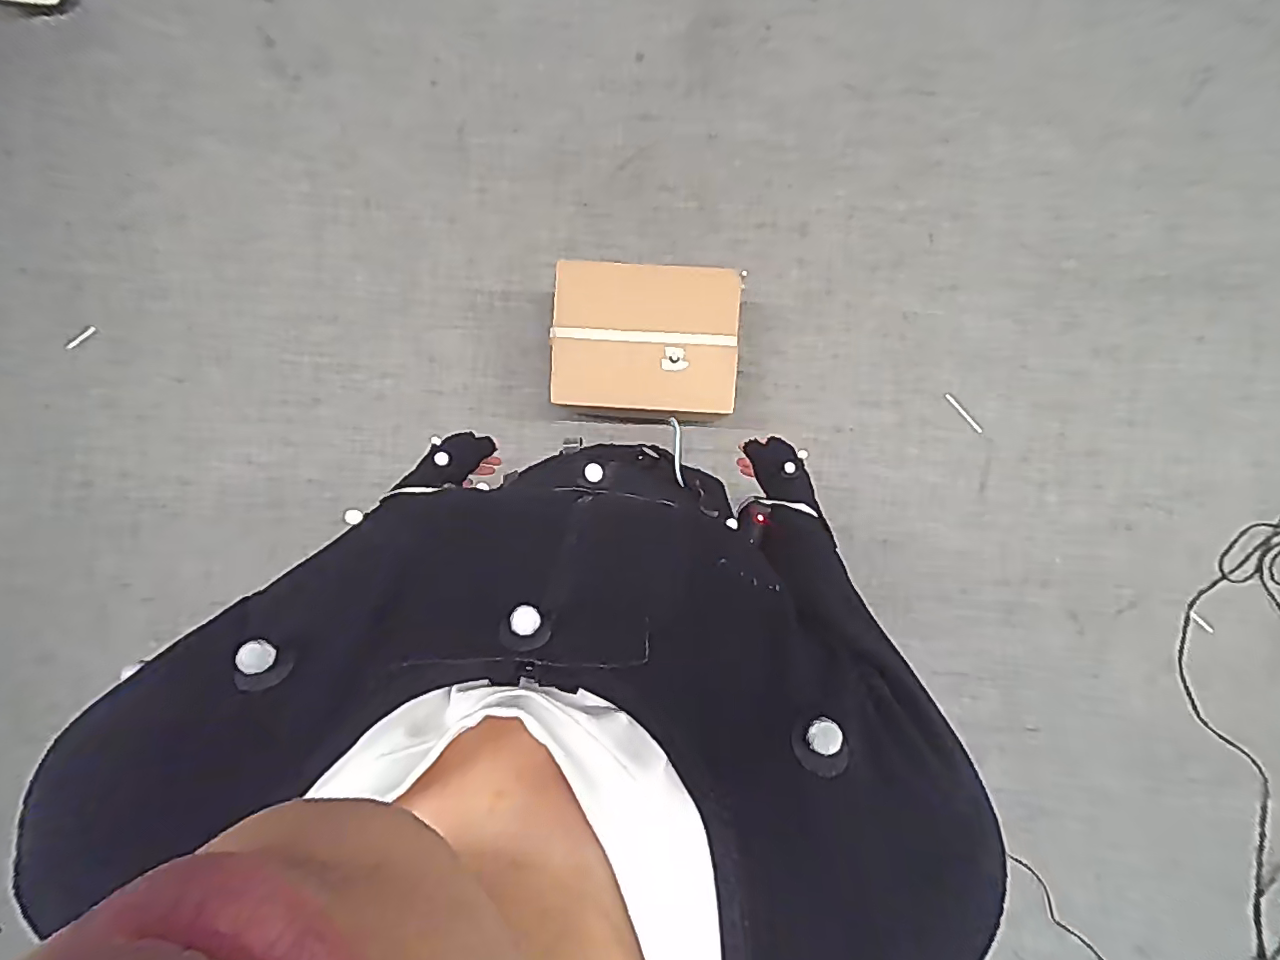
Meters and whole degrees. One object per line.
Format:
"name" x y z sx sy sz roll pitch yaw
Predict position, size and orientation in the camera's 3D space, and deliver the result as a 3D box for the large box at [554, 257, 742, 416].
"large box" 0.014 -0.327 1.320 0.408 0.320 0.320 3 94 0
